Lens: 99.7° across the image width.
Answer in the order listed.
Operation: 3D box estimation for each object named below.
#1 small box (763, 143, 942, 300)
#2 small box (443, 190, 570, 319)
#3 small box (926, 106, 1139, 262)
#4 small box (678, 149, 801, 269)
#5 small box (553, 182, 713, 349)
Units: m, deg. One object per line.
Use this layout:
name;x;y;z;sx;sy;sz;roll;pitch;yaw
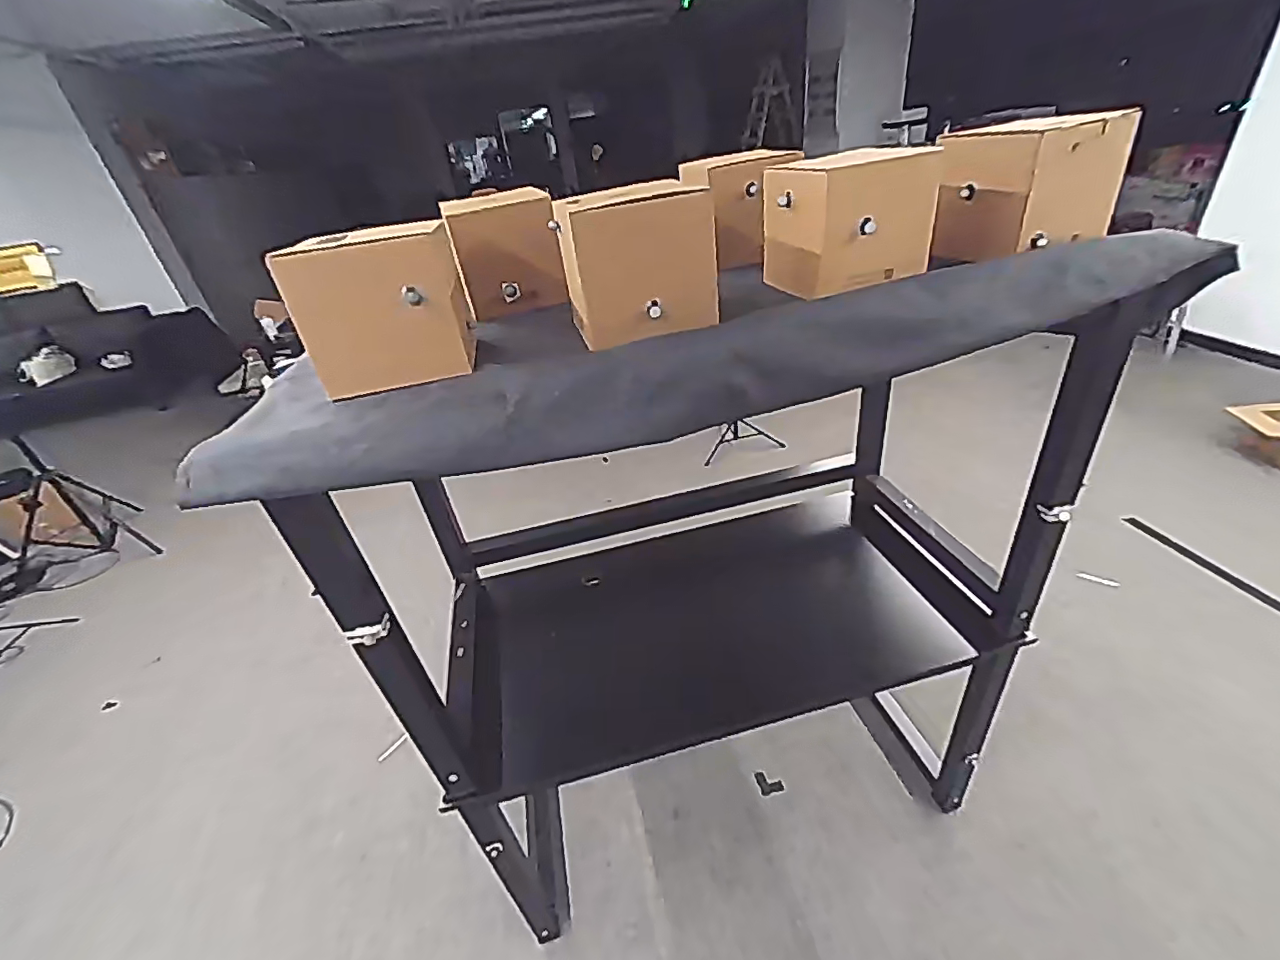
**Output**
small box;0.289;-0.366;0.769;0.168;0.176;0.179;-15;32;-8
small box;-0.230;-0.390;0.932;0.168;0.176;0.179;-18;34;-12
small box;0.555;-0.428;0.793;0.168;0.176;0.179;-17;32;-11
small box;0.183;-0.502;1.001;0.179;0.176;0.168;-13;34;-6
small box;-0.009;-0.291;0.727;0.179;0.176;0.168;-13;32;-8
